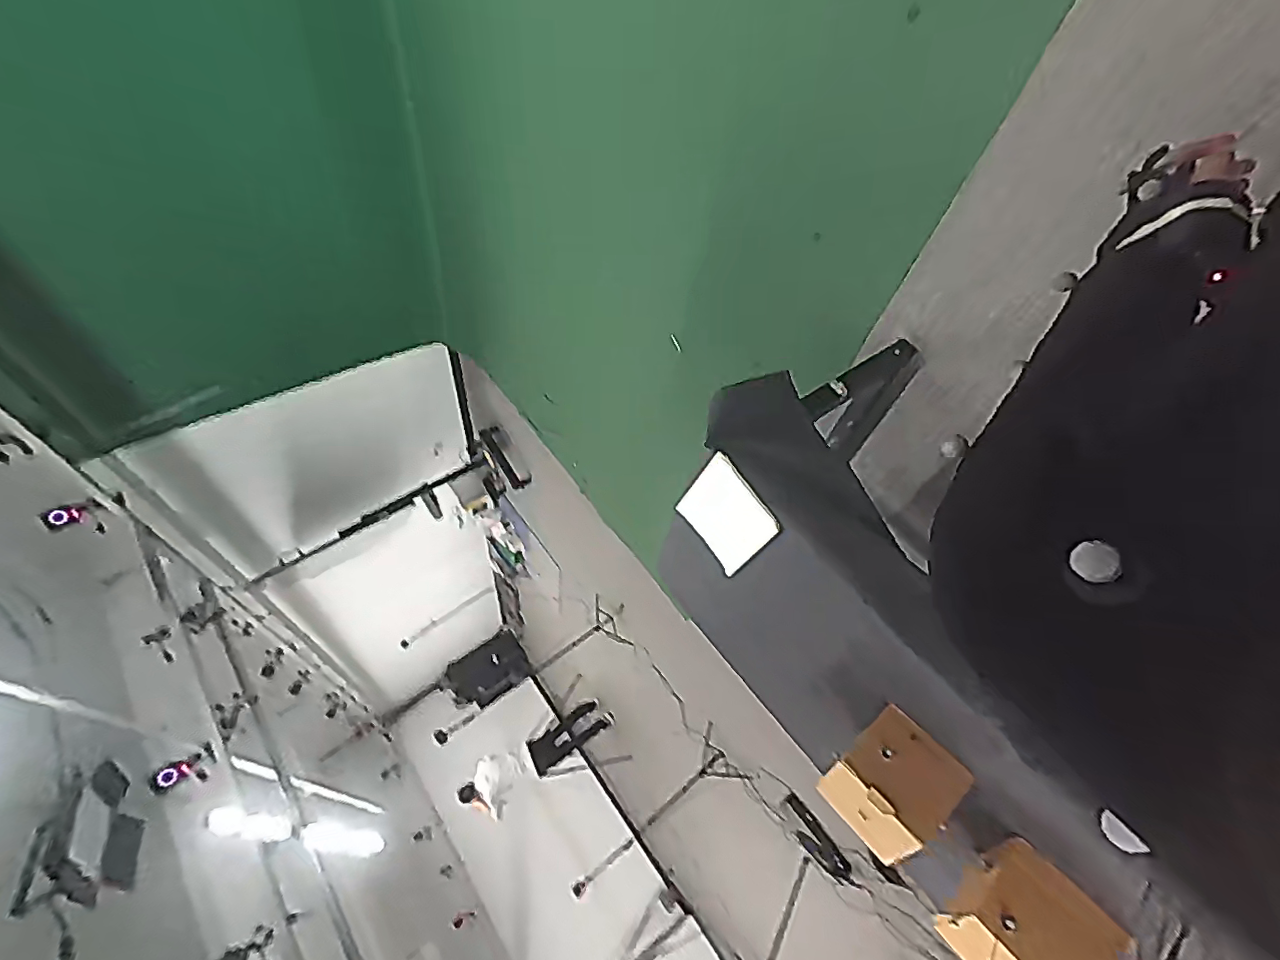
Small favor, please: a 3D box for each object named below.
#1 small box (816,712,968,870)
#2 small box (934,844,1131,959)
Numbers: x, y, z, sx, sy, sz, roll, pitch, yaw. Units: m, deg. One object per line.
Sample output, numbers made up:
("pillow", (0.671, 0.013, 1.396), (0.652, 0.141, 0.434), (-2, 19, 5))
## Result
("small box", (0.460, 0.562, 0.990), (0.168, 0.176, 0.179), (43, 150, 33))
("small box", (0.627, 0.740, 0.871), (0.179, 0.176, 0.168), (41, 148, 34))
